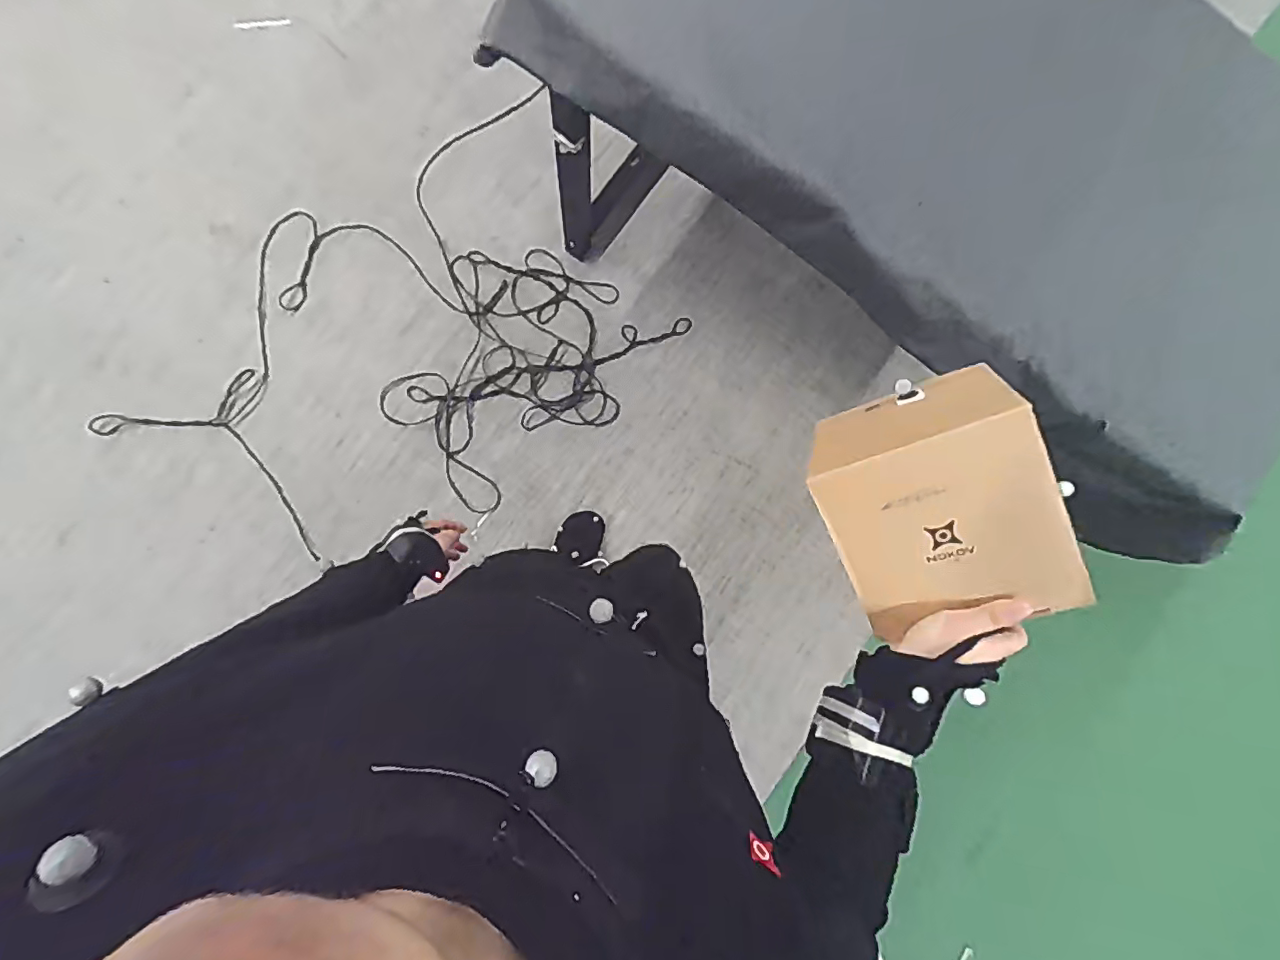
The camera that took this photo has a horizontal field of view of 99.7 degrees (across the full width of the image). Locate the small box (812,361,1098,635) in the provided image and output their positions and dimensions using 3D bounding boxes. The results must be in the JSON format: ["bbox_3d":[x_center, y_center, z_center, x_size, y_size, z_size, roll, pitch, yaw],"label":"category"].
[{"bbox_3d":[0.276,0.010,0.506,0.168,0.176,0.179,-22,103,26],"label":"small box"}]
